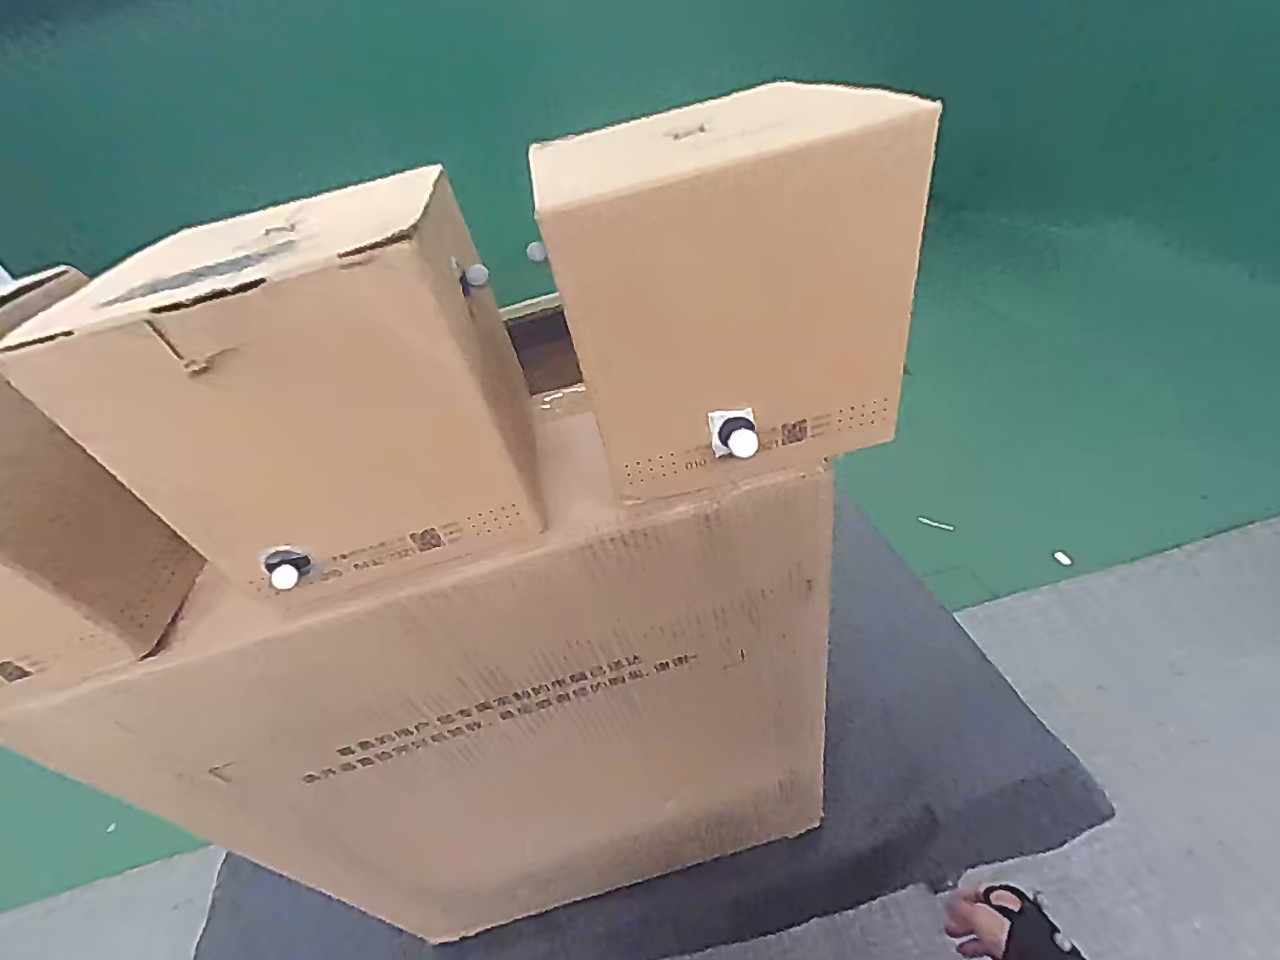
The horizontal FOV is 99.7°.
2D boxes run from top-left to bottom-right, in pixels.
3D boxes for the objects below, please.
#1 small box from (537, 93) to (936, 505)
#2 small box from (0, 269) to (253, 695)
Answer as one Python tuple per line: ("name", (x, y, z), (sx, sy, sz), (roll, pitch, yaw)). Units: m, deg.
("small box", (0.042, -0.114, 0.333), (0.168, 0.176, 0.179), (-16, 41, -1))
("small box", (-0.378, 0.005, 0.317), (0.168, 0.176, 0.179), (-17, 40, 2))
